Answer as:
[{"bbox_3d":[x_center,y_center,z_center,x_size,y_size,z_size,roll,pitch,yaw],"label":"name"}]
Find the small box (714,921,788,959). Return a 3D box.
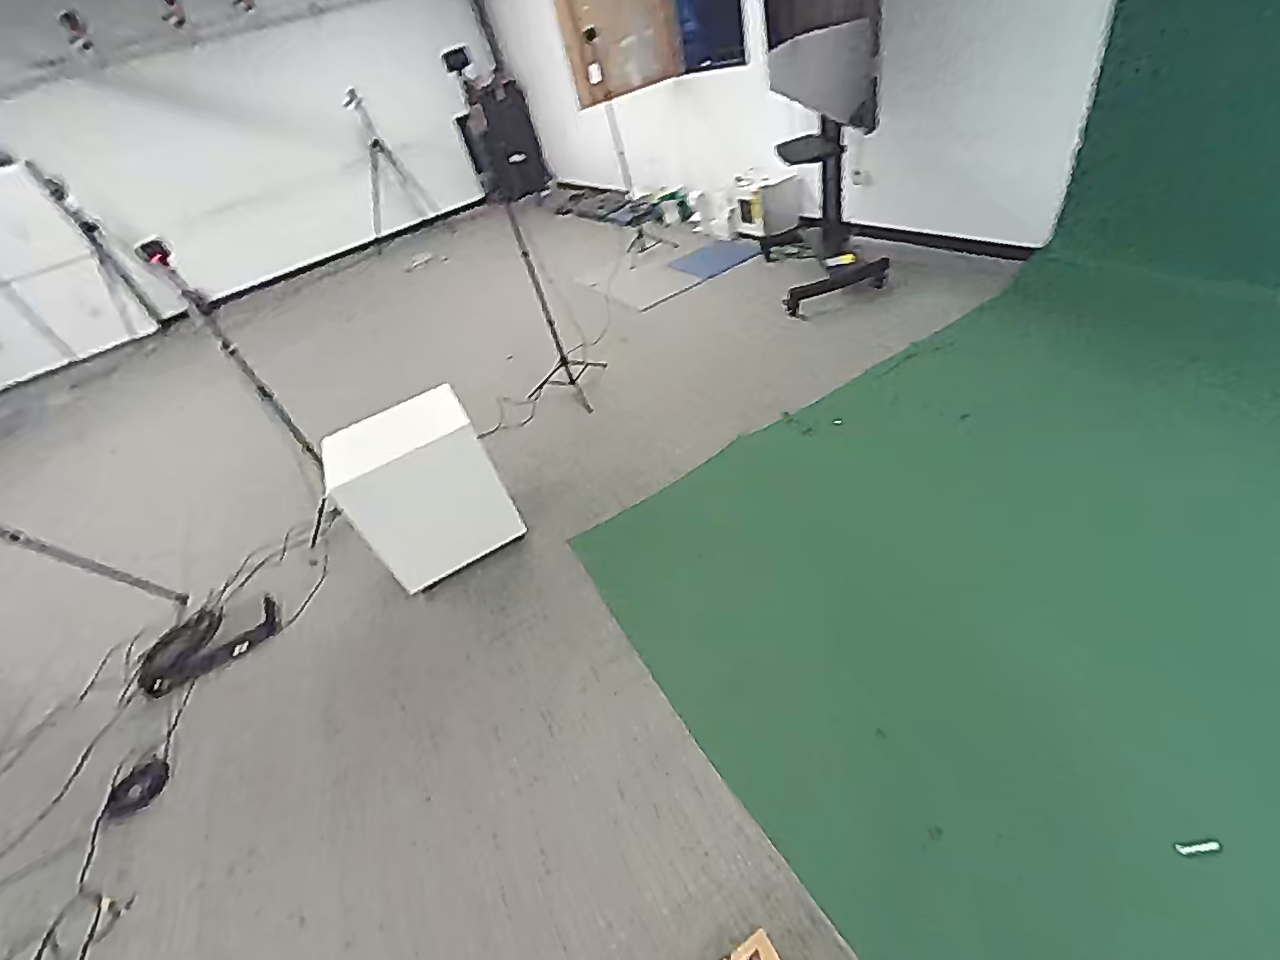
[{"bbox_3d":[0.228,0.989,1.013,0.168,0.176,0.179,-28,42,-13],"label":"small box"}]
